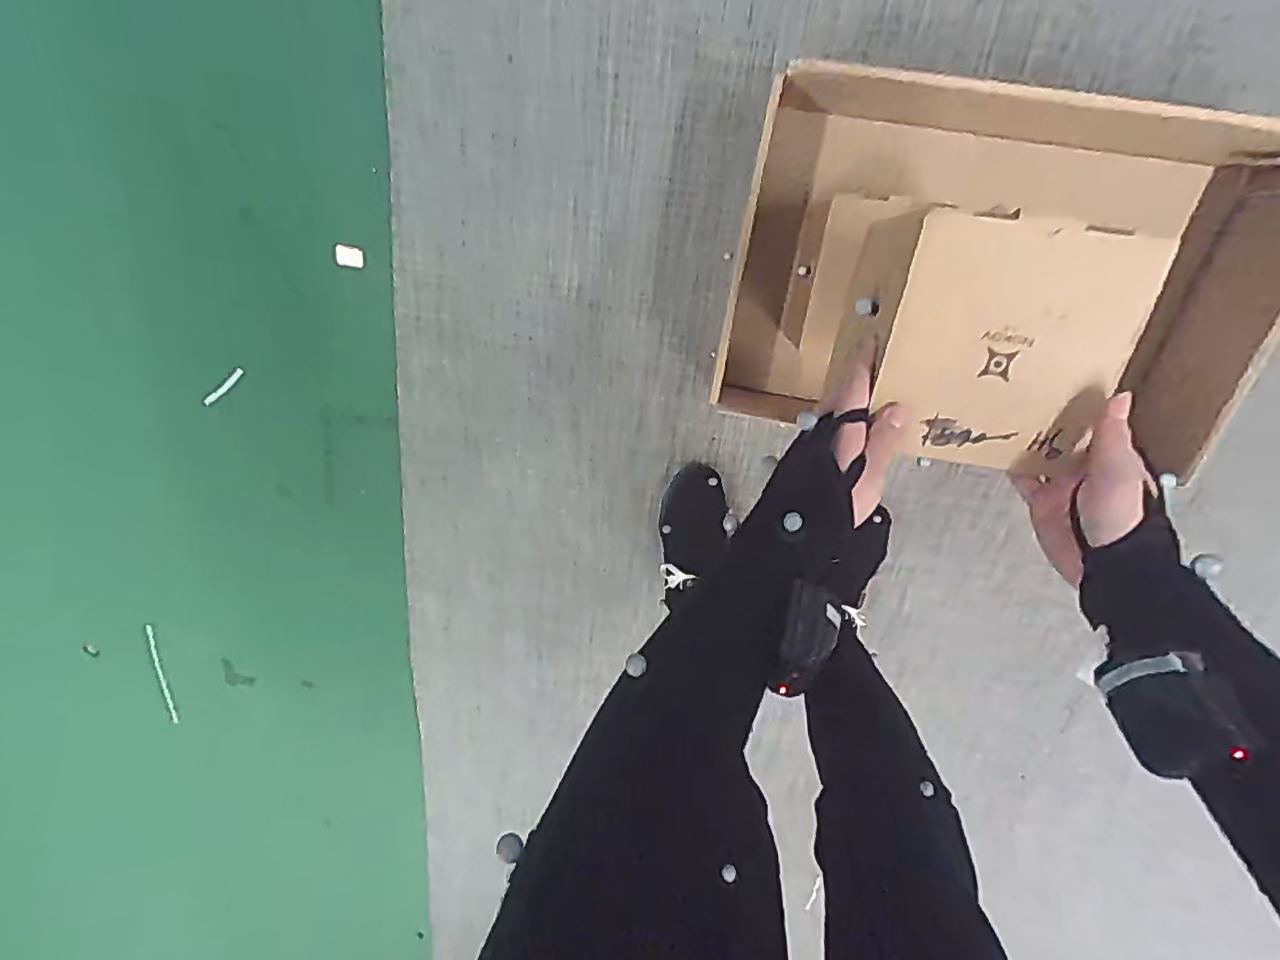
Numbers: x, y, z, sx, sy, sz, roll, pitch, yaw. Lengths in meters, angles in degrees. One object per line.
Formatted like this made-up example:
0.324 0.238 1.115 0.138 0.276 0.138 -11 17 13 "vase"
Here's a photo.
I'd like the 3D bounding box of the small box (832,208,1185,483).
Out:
0.278 -0.118 0.464 0.168 0.176 0.179 10 112 5 "small box"
